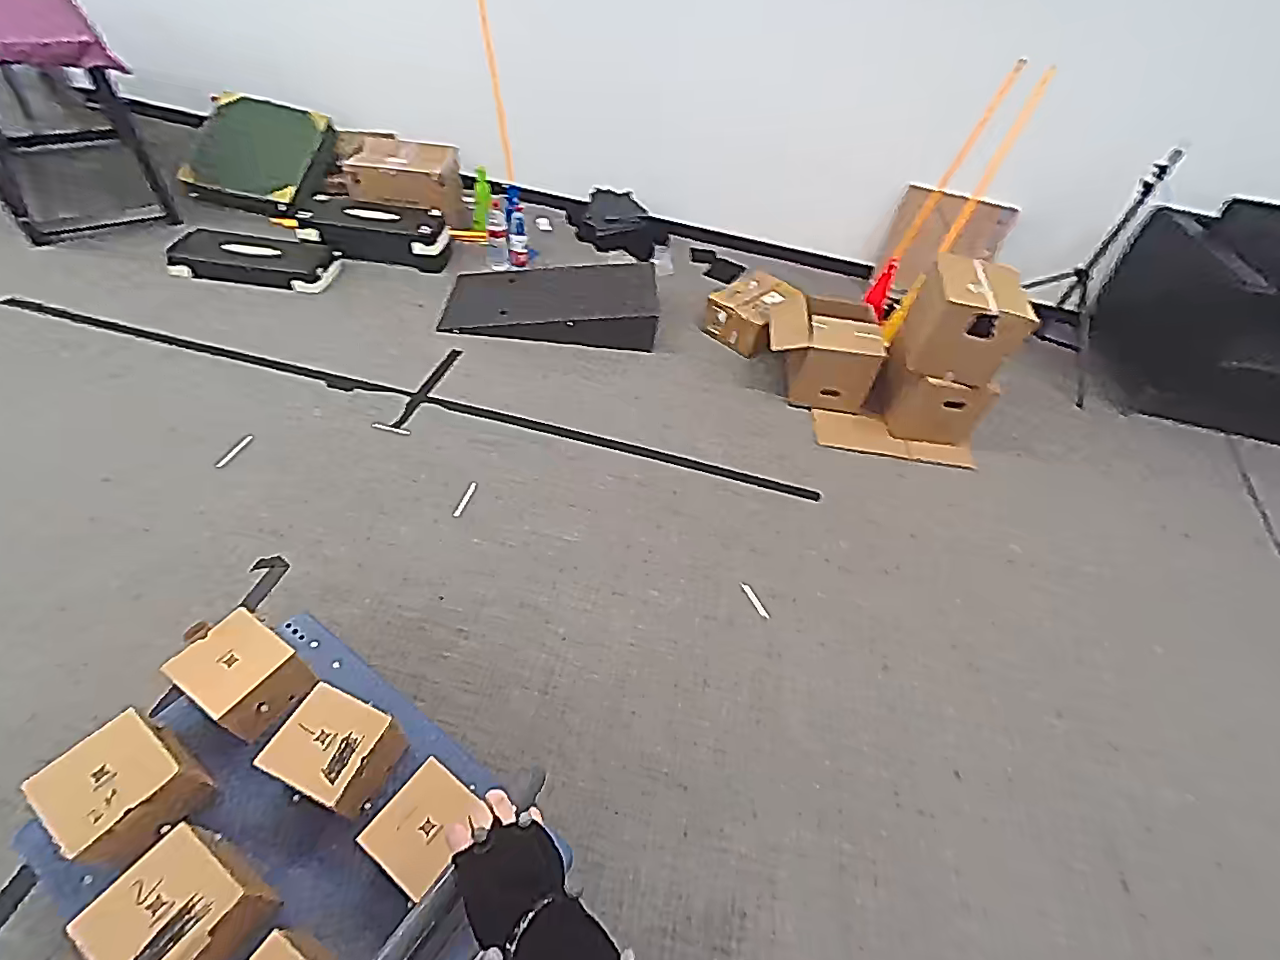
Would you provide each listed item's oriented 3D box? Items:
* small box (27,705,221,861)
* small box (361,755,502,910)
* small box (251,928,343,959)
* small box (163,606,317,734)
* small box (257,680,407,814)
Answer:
[{"bbox_3d":[-0.923,0.555,0.983,0.179,0.176,0.168,34,52,17],"label":"small box"},{"bbox_3d":[-0.374,0.656,1.004,0.179,0.176,0.168,32,51,17],"label":"small box"},{"bbox_3d":[-0.536,0.826,0.822,0.179,0.176,0.168,29,49,14],"label":"small box"},{"bbox_3d":[-0.824,0.405,1.135,0.179,0.176,0.168,29,51,15],"label":"small box"},{"bbox_3d":[-0.592,0.533,1.068,0.179,0.176,0.168,22,49,9],"label":"small box"}]
